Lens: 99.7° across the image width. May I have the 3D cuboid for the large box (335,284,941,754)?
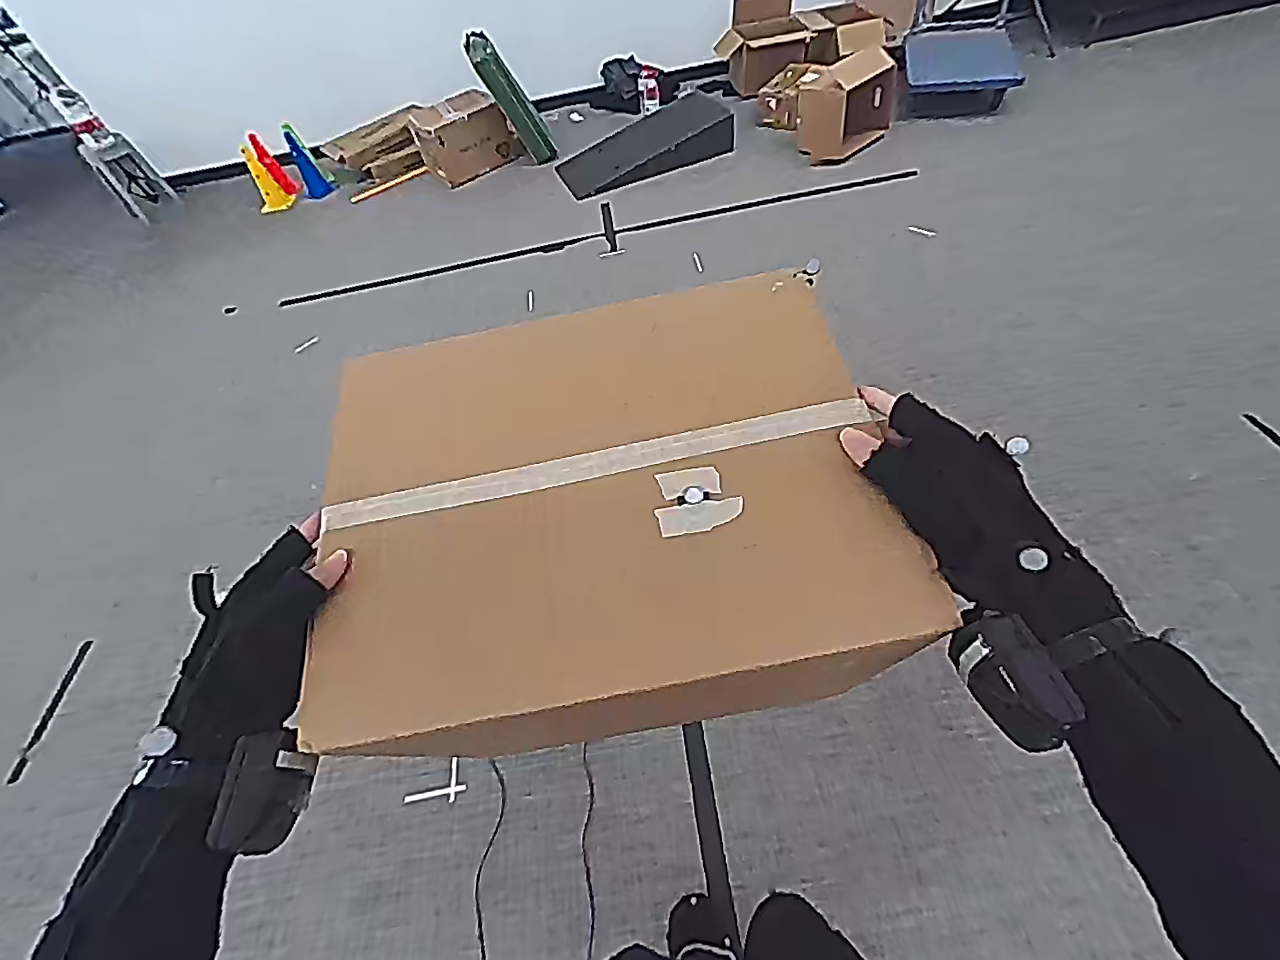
[{"bbox_3d":[-0.013,0.064,0.543,0.408,0.320,0.320,-11,62,1],"label":"large box"}]
